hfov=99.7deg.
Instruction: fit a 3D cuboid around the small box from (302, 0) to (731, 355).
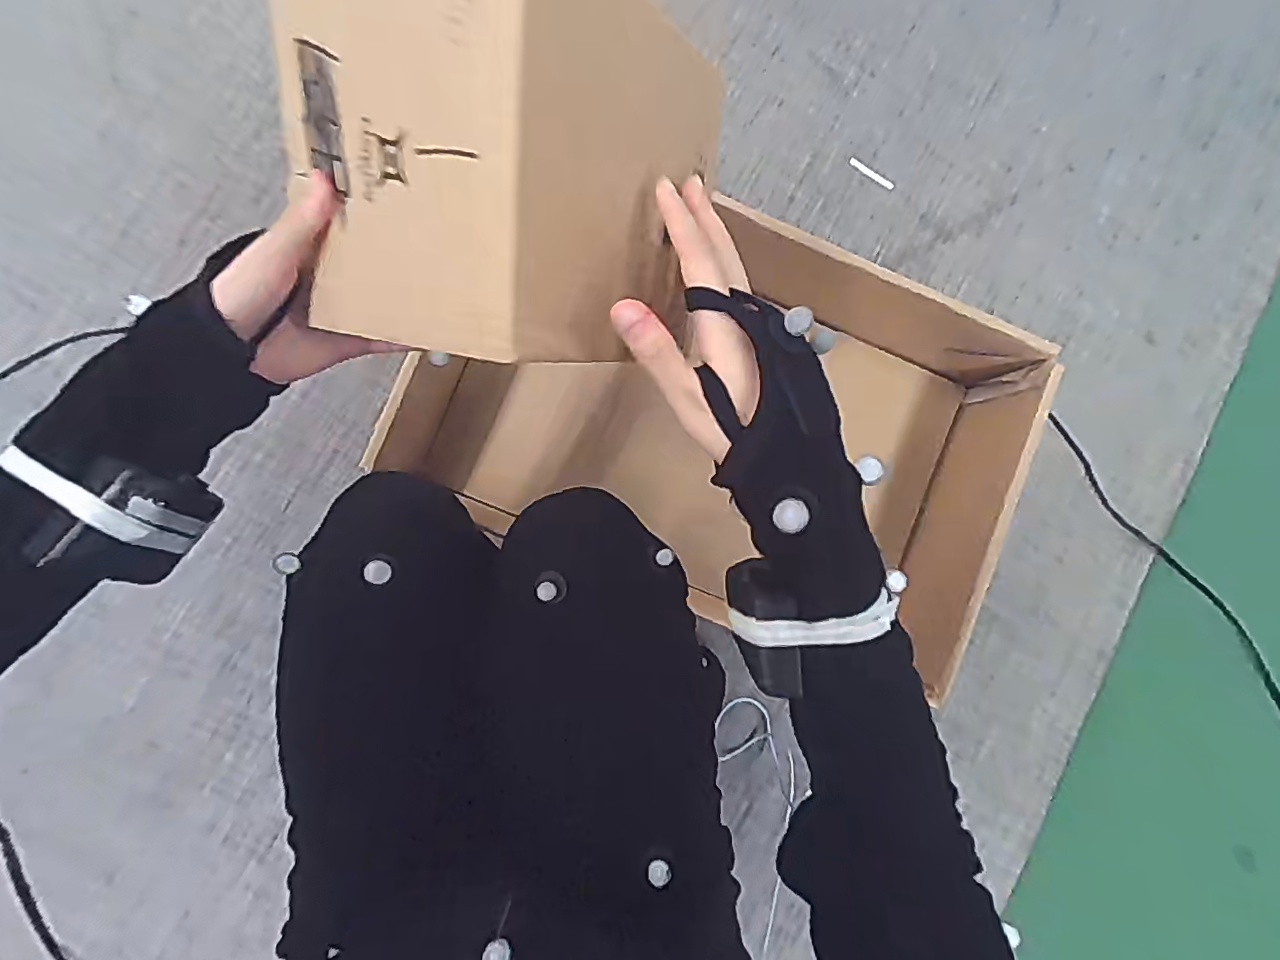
[{"bbox_3d":[-0.066,-0.169,0.321,0.179,0.176,0.168,16,107,25],"label":"small box"}]
